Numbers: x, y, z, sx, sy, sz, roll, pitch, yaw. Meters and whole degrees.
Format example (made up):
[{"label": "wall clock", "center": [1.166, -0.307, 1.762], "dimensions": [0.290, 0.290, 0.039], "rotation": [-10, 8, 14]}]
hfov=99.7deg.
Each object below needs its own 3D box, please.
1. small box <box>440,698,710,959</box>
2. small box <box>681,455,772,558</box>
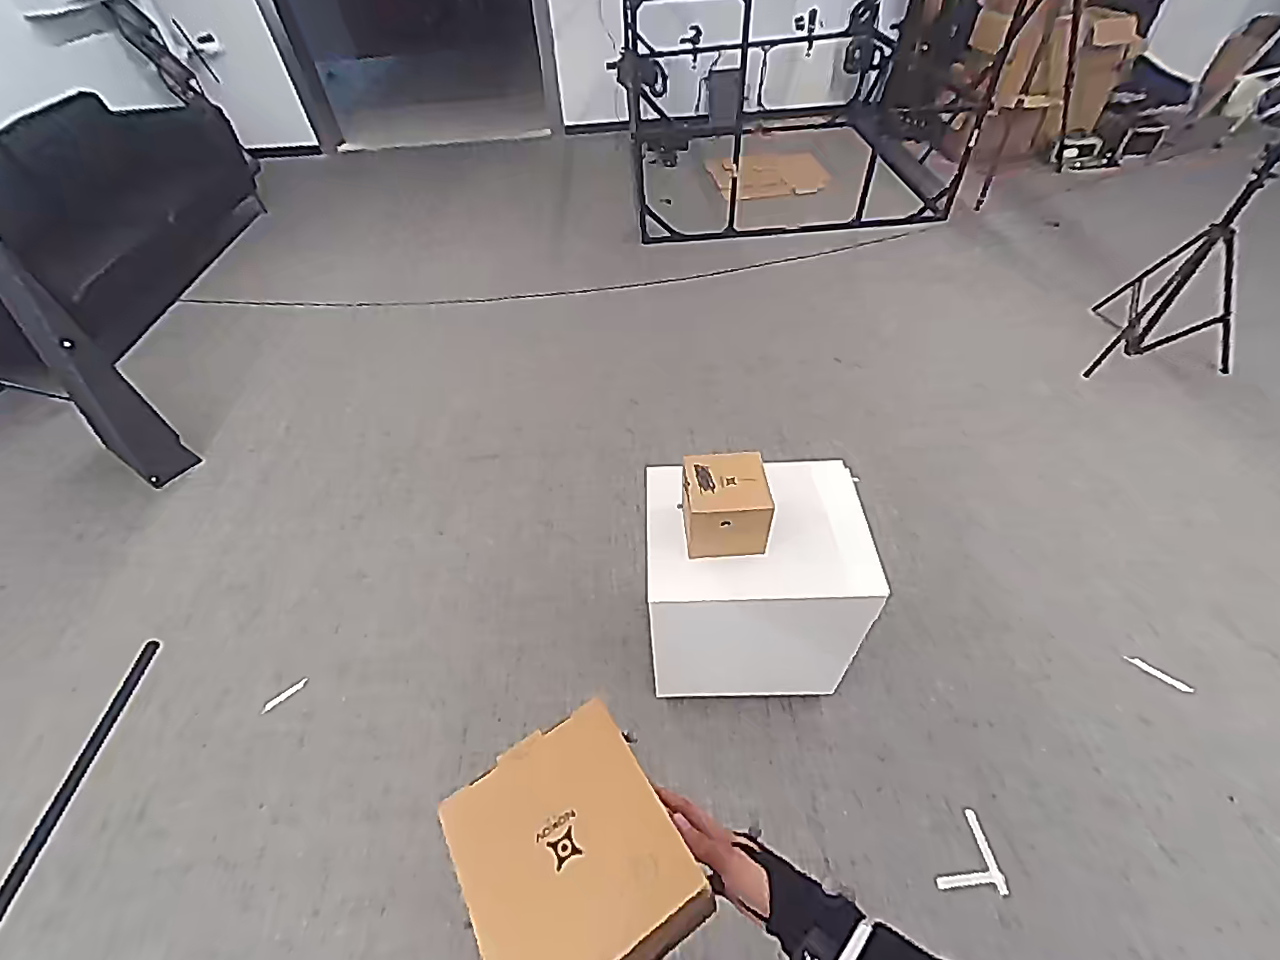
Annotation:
[{"label": "small box", "center": [-0.050, 0.347, 0.496], "dimensions": [0.168, 0.176, 0.179], "rotation": [-30, 47, -17]}, {"label": "small box", "center": [0.186, 0.063, 1.215], "dimensions": [0.179, 0.176, 0.168], "rotation": [-3, 48, -1]}]
